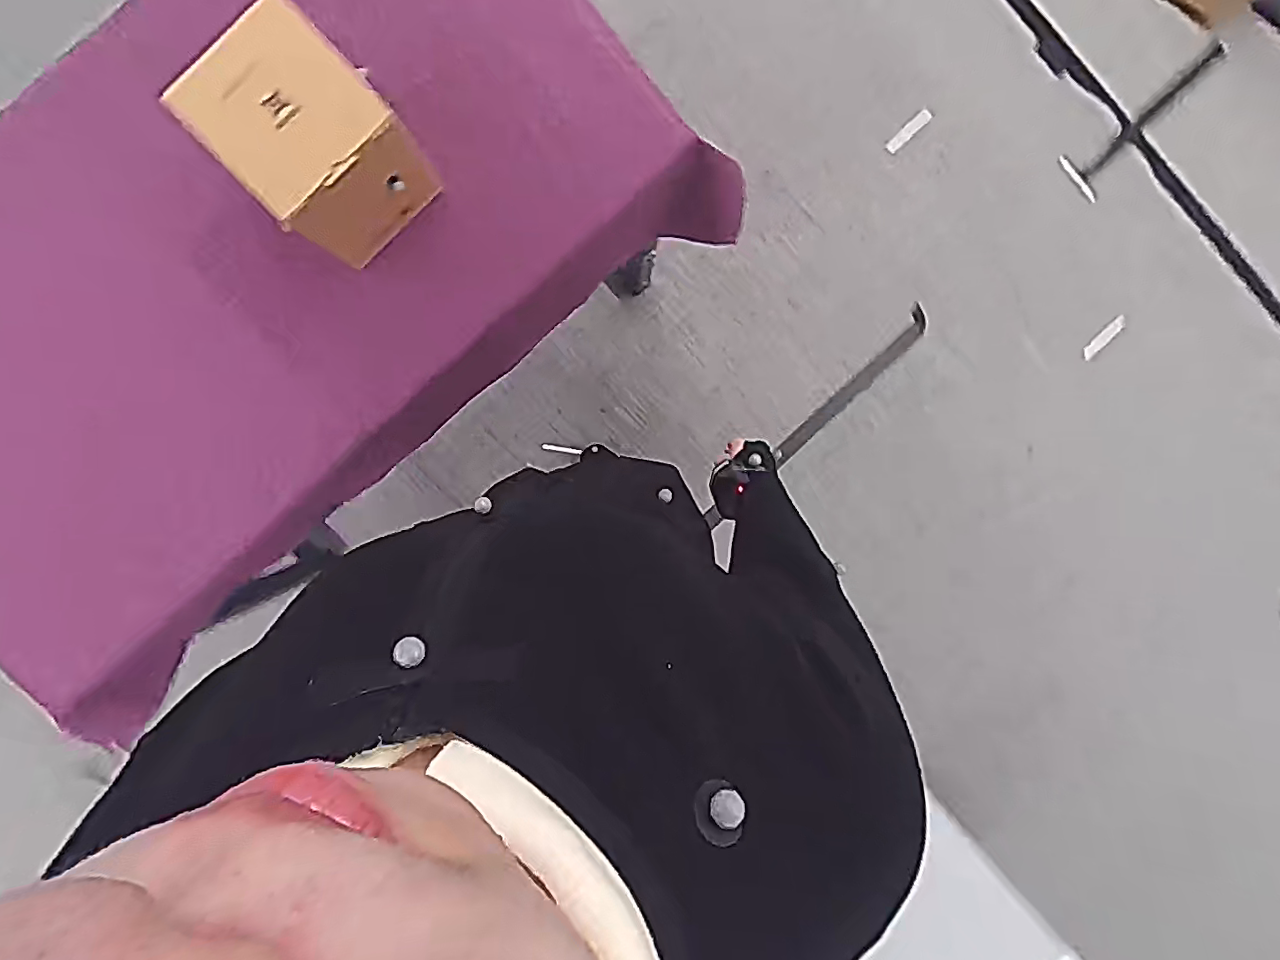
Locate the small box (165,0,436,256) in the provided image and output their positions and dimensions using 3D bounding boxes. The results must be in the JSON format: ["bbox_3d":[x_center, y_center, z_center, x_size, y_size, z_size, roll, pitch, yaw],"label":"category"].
[{"bbox_3d":[-0.378,-0.396,0.644,0.168,0.176,0.179,-44,94,1],"label":"small box"}]
